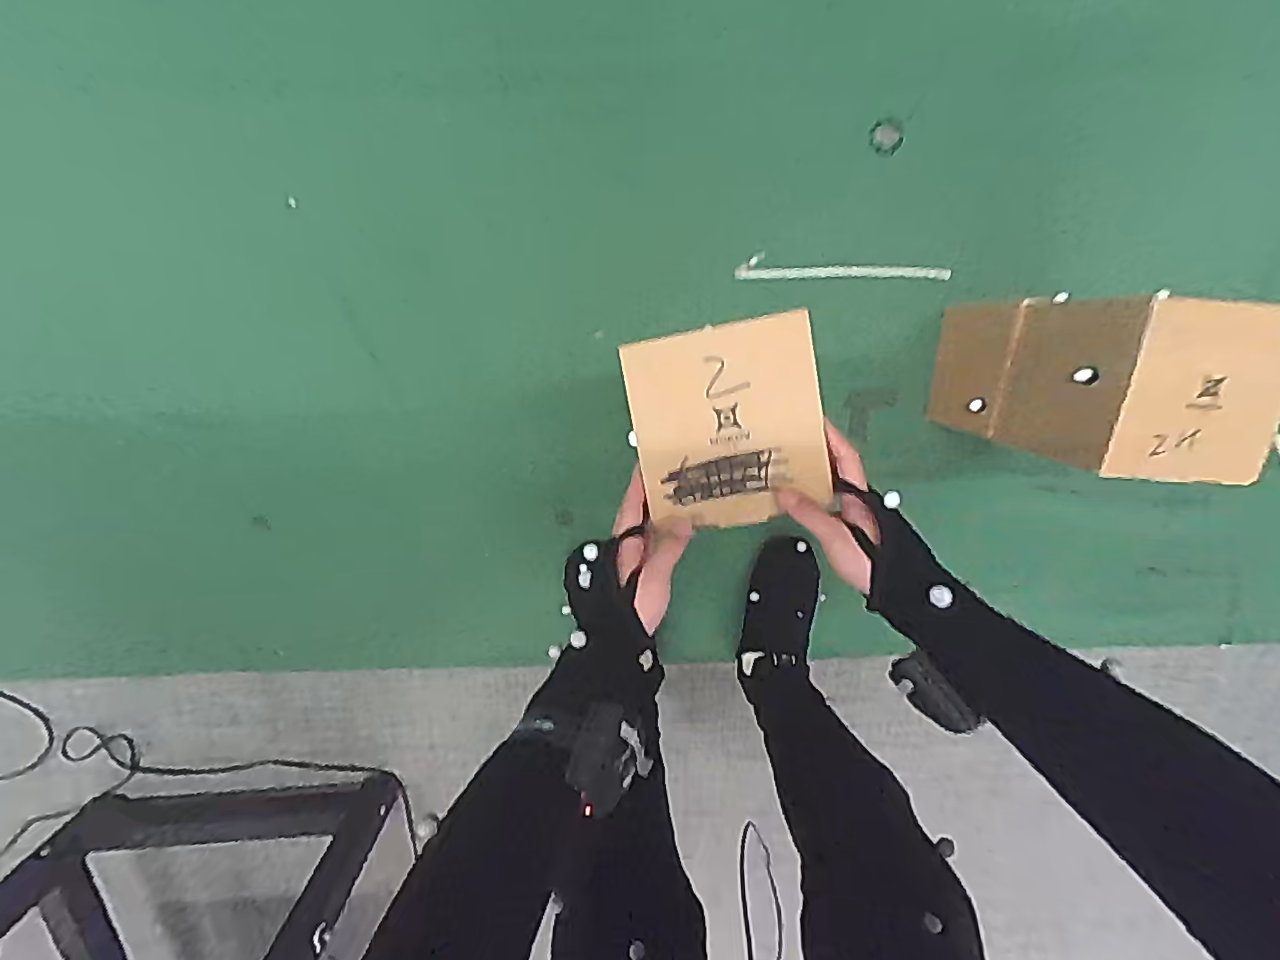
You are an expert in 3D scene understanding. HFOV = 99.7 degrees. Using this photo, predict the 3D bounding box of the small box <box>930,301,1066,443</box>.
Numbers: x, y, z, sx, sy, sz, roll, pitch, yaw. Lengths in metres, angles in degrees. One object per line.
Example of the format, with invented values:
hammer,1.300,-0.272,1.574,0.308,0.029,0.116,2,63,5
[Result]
small box,0.537,-0.151,0.754,0.168,0.176,0.179,2,107,-2

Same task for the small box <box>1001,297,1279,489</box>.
small box,0.544,-0.101,0.598,0.168,0.176,0.179,4,107,-2
